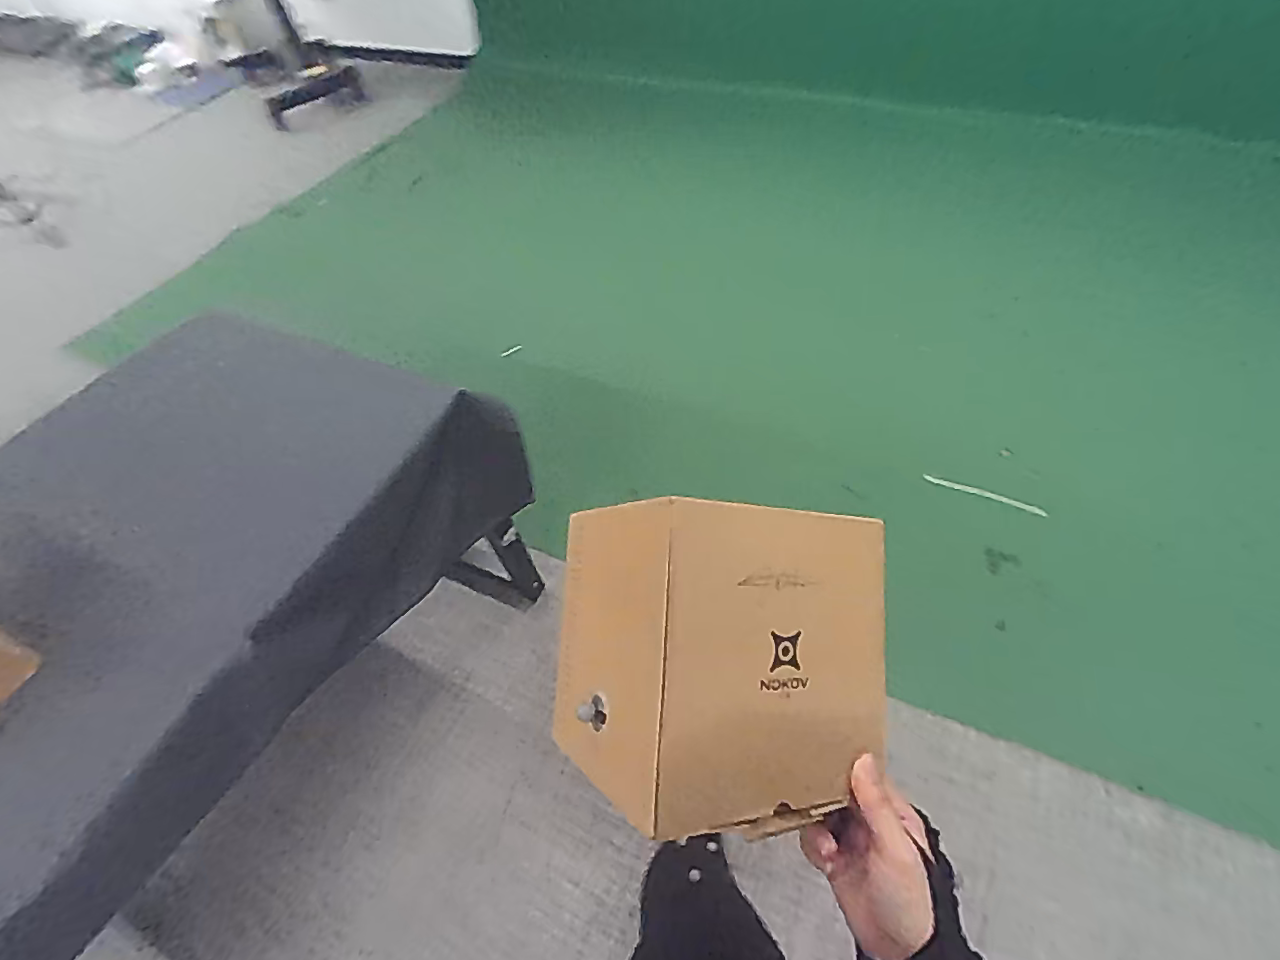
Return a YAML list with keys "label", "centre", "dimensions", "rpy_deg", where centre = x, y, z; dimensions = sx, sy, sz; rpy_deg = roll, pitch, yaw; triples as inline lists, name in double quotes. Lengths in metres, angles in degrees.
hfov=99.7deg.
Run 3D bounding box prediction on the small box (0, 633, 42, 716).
- label: "small box"
  centre: [-0.815, 0.211, 0.558]
  dimensions: [0.179, 0.176, 0.168]
  rpy_deg: [18, 58, 17]
